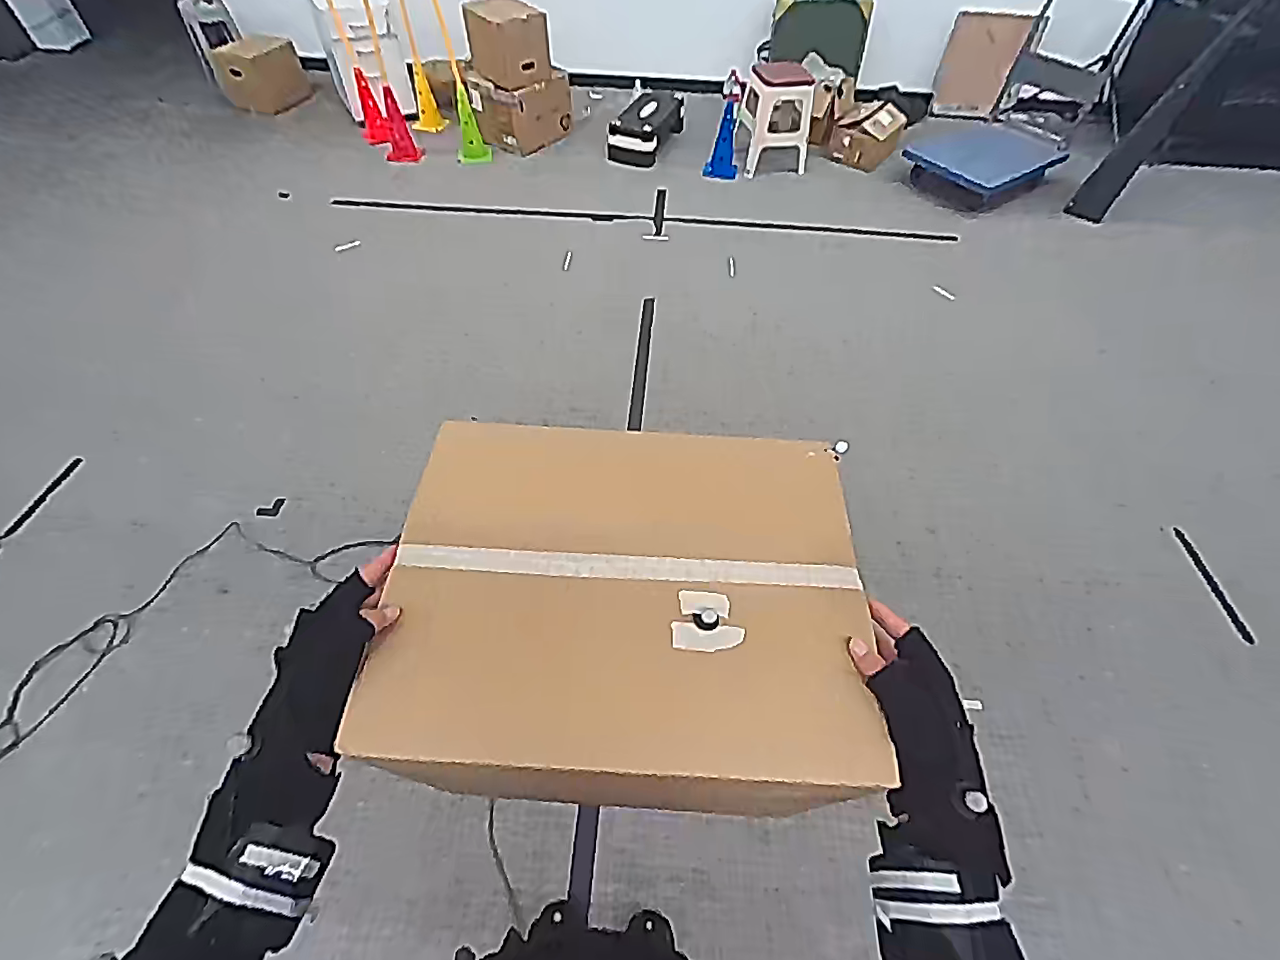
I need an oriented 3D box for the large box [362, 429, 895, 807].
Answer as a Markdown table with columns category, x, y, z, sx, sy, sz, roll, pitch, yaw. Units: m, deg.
| category | x | y | z | sx | sy | sz | roll | pitch | yaw |
| --- | --- | --- | --- | --- | --- | --- | --- | --- | --- |
| large box | -0.009 | 0.166 | 0.602 | 0.408 | 0.320 | 0.320 | 4 | 55 | 0 |
